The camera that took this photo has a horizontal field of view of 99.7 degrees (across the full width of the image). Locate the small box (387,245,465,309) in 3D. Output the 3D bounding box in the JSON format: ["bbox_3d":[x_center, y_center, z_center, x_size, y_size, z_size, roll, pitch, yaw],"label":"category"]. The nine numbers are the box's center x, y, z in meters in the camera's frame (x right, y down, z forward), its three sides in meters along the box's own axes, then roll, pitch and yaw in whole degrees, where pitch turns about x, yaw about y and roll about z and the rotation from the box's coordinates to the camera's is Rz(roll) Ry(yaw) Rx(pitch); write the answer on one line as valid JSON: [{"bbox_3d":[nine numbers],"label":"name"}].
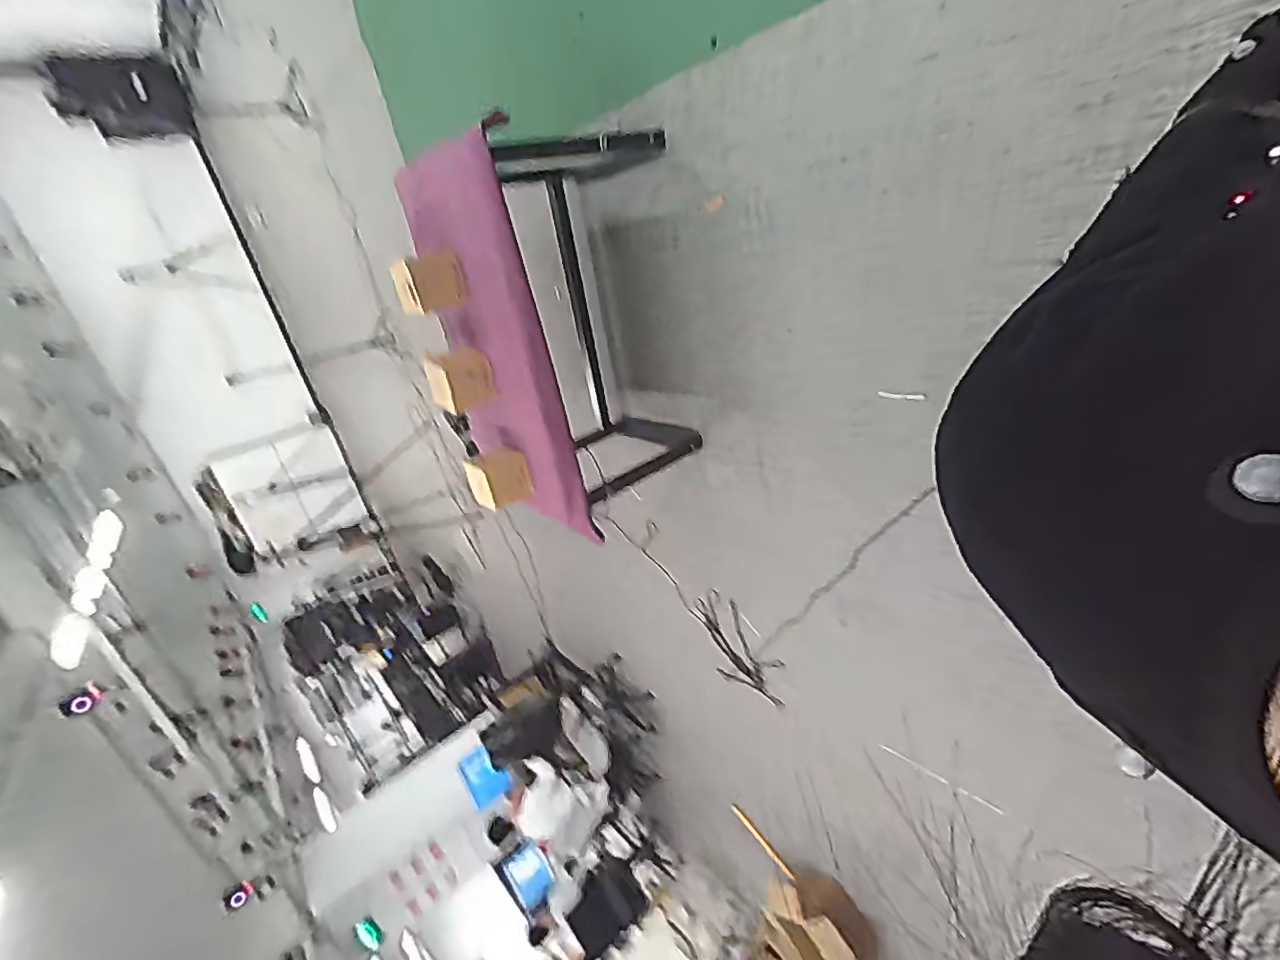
[{"bbox_3d":[-0.693,-0.664,1.769,0.179,0.176,0.168,17,127,48],"label":"small box"}]

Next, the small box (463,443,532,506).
[{"bbox_3d":[-0.531,-0.028,2.020,0.179,0.176,0.168,17,127,46],"label":"small box"}]

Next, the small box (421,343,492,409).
[{"bbox_3d":[-0.639,-0.375,1.911,0.179,0.176,0.168,29,134,40],"label":"small box"}]
